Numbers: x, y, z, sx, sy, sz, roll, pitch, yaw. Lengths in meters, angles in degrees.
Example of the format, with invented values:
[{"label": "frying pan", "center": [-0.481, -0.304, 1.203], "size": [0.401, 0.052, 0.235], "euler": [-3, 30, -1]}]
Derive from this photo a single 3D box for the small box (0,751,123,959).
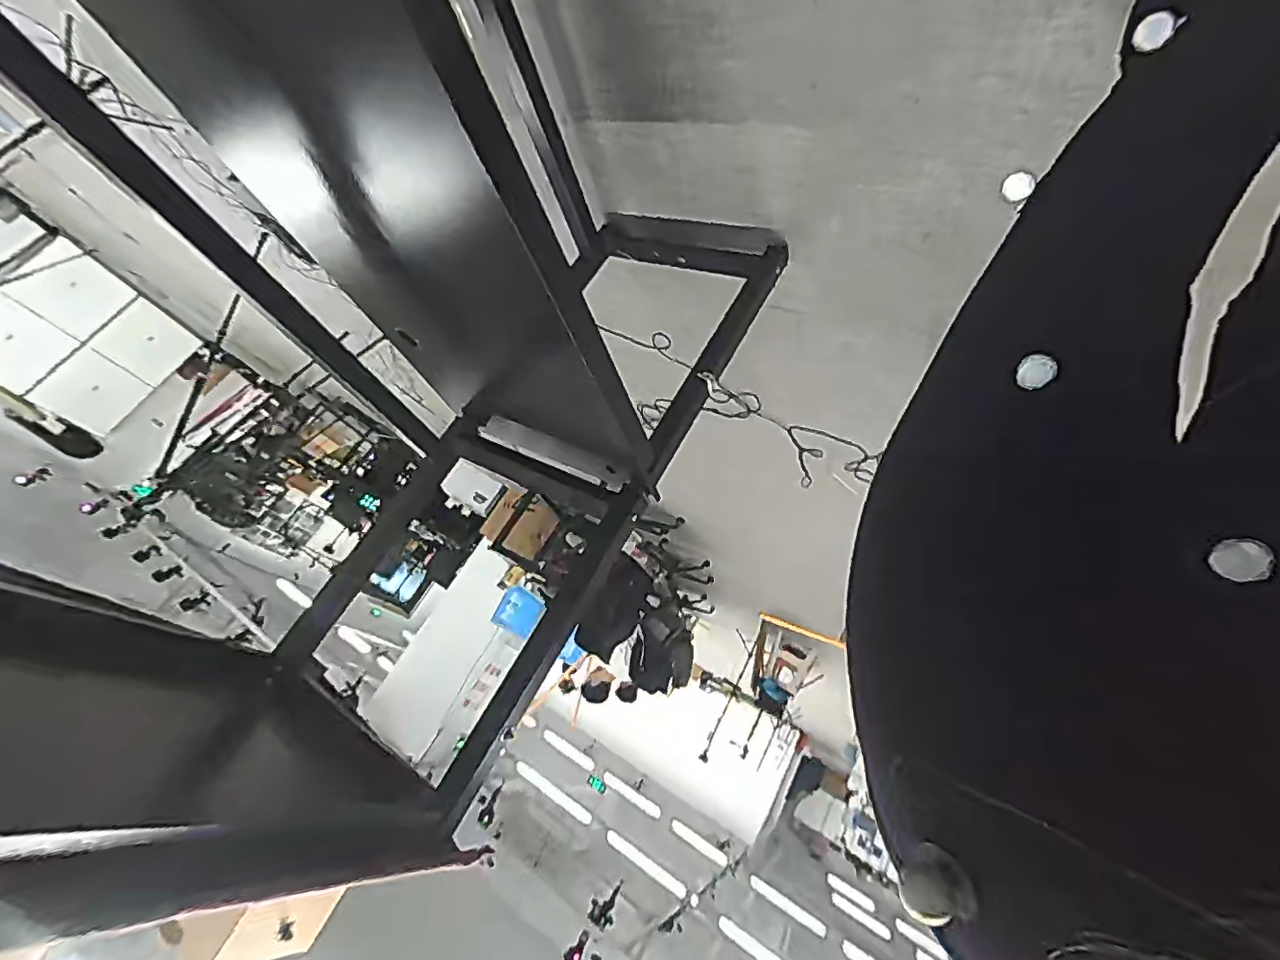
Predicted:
[{"label": "small box", "center": [-0.653, 0.372, 0.500], "size": [0.168, 0.176, 0.179], "euler": [23, 160, 28]}]
